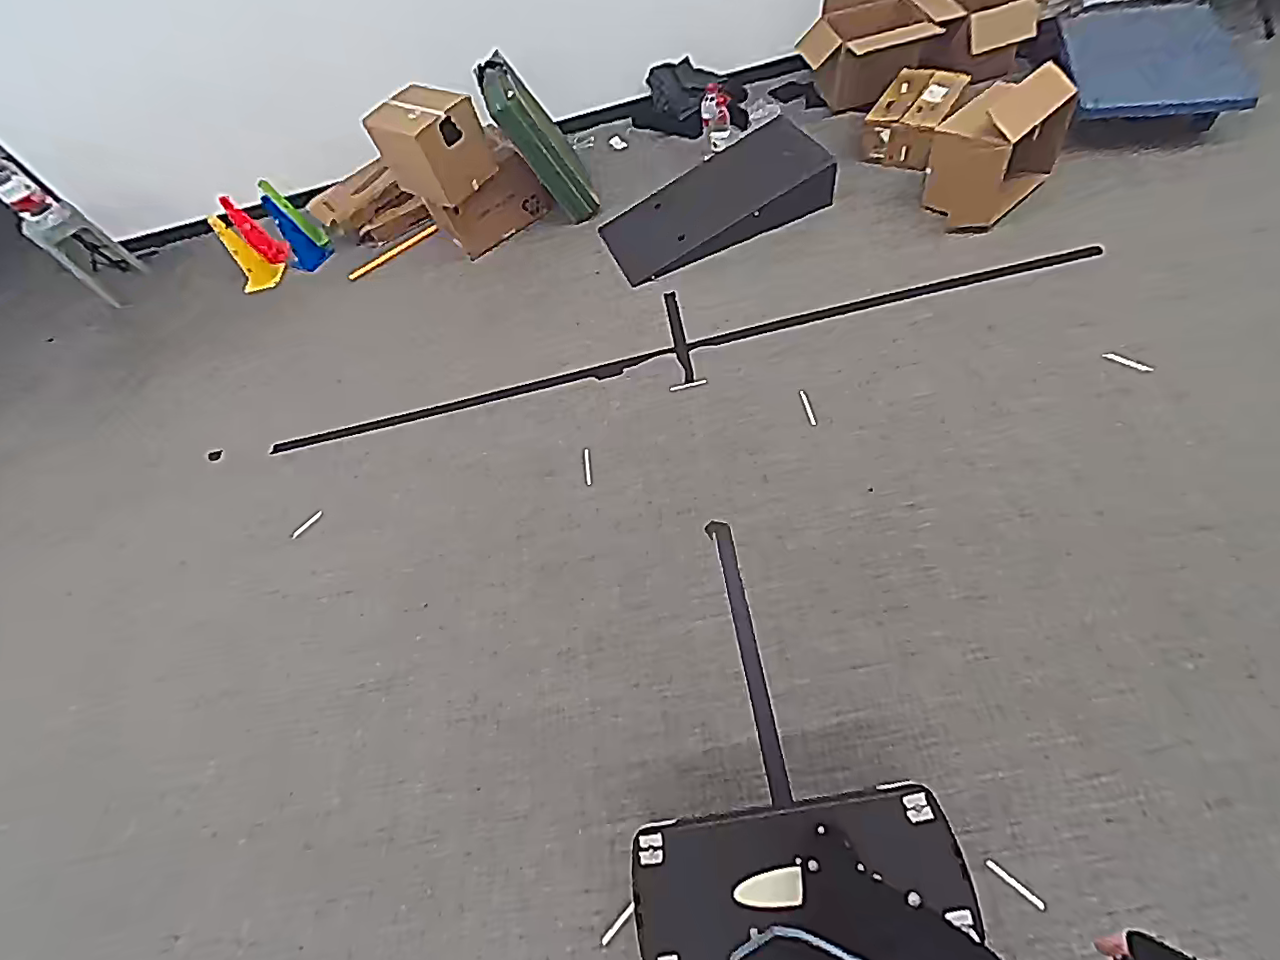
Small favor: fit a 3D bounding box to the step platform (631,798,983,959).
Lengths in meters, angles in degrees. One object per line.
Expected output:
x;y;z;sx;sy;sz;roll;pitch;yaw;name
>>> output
0.322;0.892;1.146;0.684;0.204;0.286;-13;58;3;step platform
